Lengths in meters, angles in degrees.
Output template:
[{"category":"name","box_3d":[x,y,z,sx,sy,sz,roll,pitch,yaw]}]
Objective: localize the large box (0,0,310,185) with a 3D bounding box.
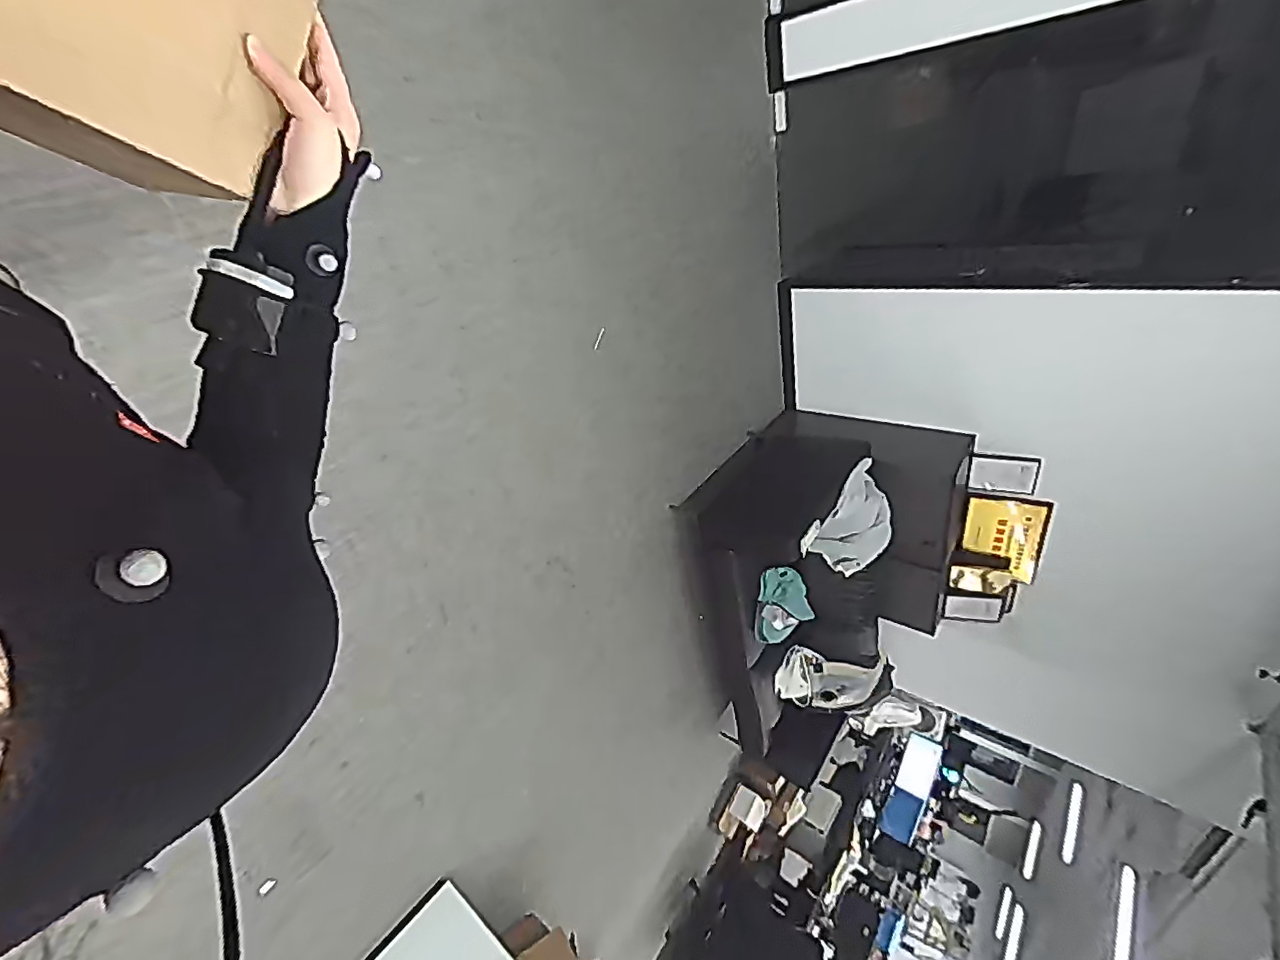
[{"category":"large box","box_3d":[-0.456,-0.425,0.300,0.408,0.320,0.320,12,101,-57]}]
